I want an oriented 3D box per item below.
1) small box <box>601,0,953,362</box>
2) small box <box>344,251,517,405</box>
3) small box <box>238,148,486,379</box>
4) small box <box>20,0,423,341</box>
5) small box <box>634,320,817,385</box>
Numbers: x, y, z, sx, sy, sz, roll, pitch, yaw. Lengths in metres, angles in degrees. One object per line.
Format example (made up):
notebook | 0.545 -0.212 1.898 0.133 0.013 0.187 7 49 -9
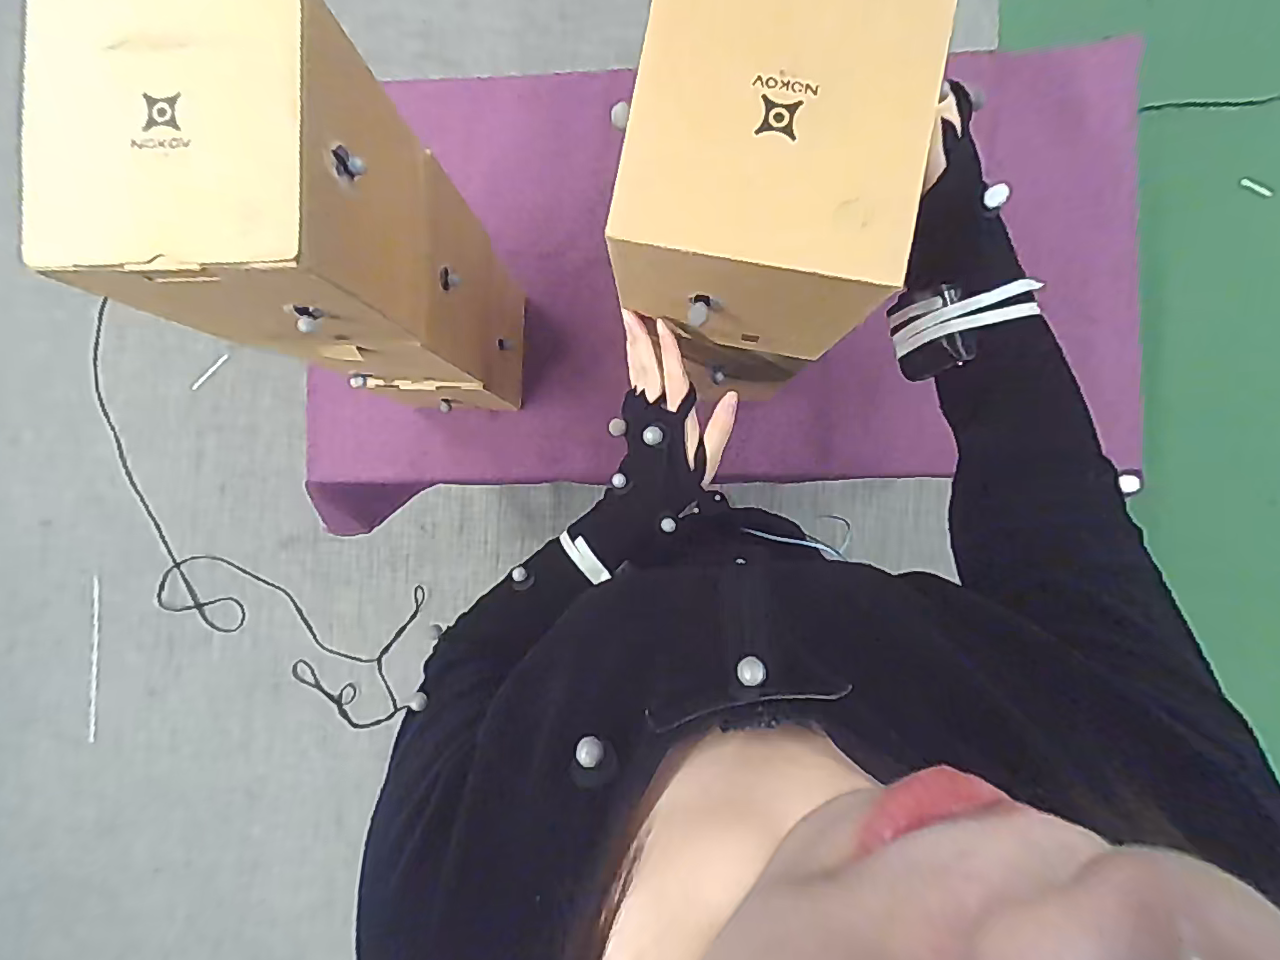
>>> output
small box | 0.078 -0.196 0.380 0.168 0.176 0.179 12 88 2
small box | -0.265 -0.197 0.719 0.168 0.176 0.179 2 90 1
small box | -0.267 -0.206 0.554 0.168 0.176 0.179 3 88 2
small box | -0.271 -0.206 0.392 0.168 0.176 0.179 1 89 1
small box | 0.084 -0.203 0.543 0.168 0.176 0.179 4 90 2
